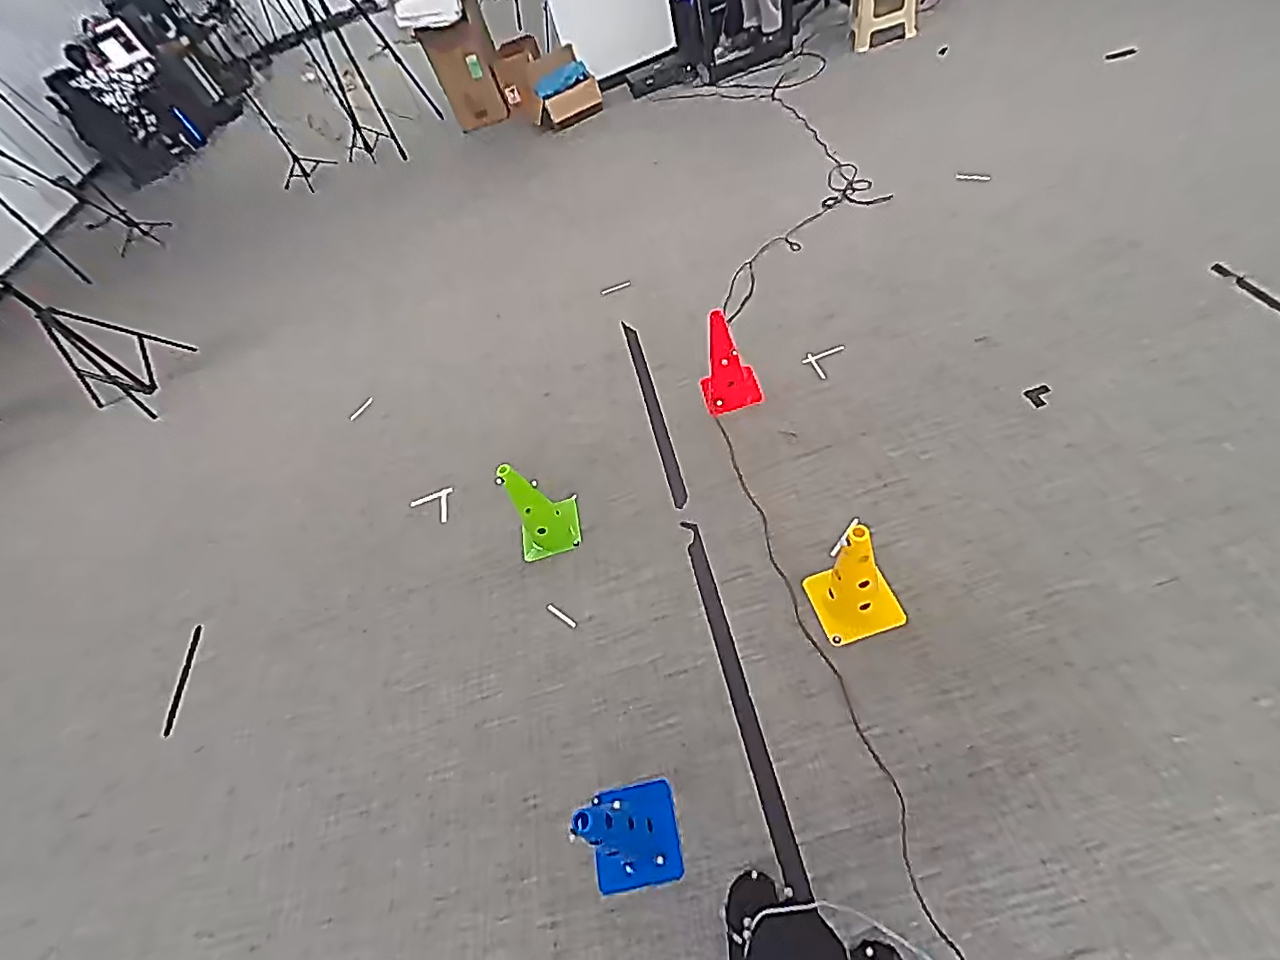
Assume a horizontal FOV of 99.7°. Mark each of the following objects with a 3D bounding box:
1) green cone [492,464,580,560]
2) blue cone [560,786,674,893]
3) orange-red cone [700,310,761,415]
[{"bbox_3d":[-0.352,0.066,1.690,0.202,0.368,0.200,-19,51,6],"label":"green cone"},{"bbox_3d":[-0.066,0.728,1.120,0.192,0.380,0.193,-16,51,8],"label":"blue cone"},{"bbox_3d":[0.283,-0.423,1.836,0.199,0.360,0.198,-14,53,7],"label":"orange-red cone"}]
